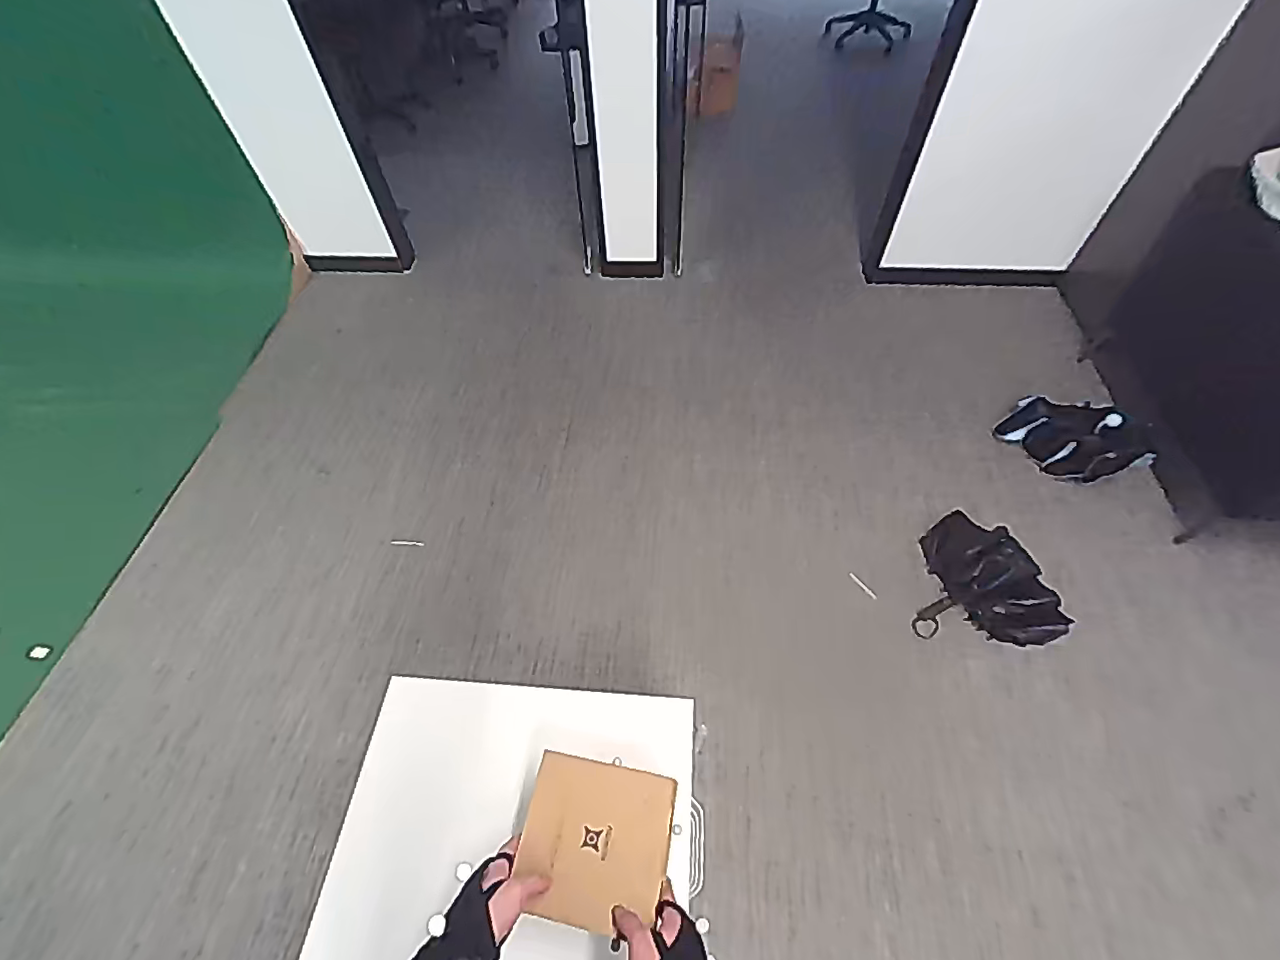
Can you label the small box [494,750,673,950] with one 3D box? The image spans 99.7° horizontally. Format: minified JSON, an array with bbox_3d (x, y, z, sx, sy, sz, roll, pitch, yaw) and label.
[{"bbox_3d":[-0.059,0.468,0.691,0.179,0.176,0.168,8,52,8],"label":"small box"}]
